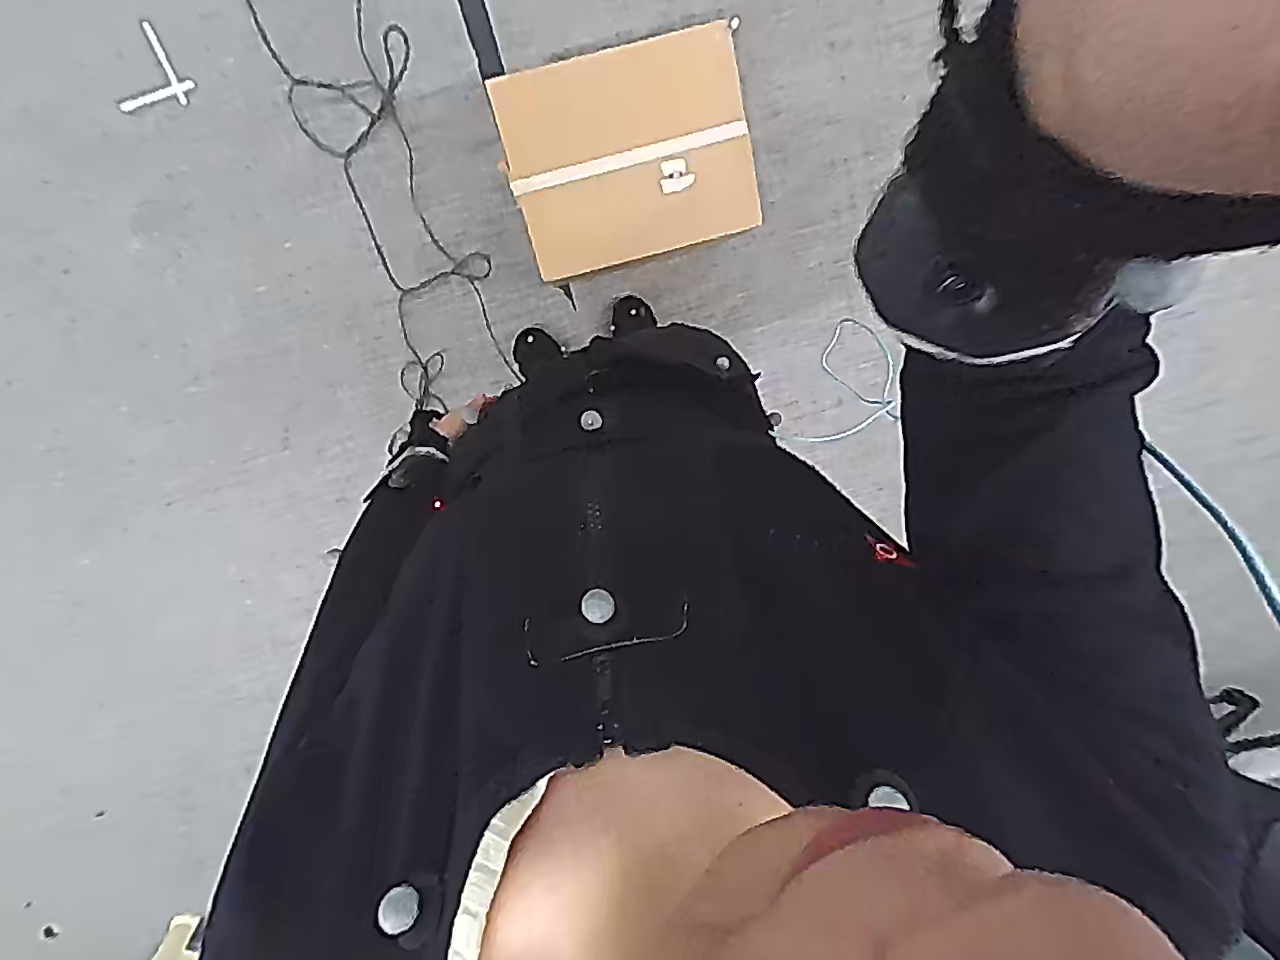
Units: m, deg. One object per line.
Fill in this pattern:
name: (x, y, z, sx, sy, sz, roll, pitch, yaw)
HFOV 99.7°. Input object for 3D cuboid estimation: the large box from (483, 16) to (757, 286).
large box: (-0.038, -0.585, 1.038, 0.408, 0.320, 0.320, -15, 110, -2)
